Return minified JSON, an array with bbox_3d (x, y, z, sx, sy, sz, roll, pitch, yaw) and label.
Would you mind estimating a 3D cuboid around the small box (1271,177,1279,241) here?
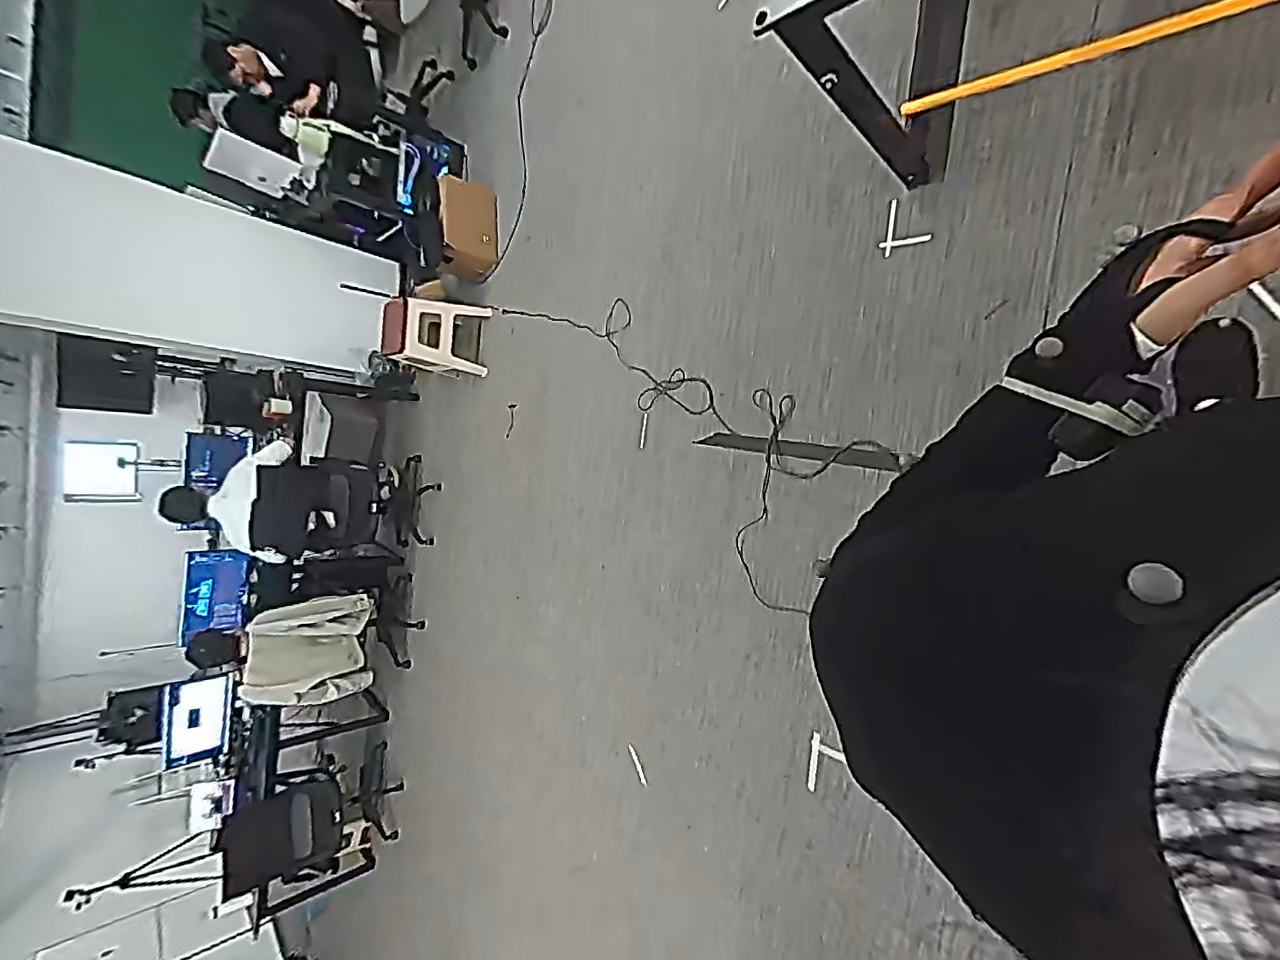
[{"bbox_3d":[0.475,-0.227,0.281,0.168,0.176,0.179,16,111,45],"label":"small box"}]
